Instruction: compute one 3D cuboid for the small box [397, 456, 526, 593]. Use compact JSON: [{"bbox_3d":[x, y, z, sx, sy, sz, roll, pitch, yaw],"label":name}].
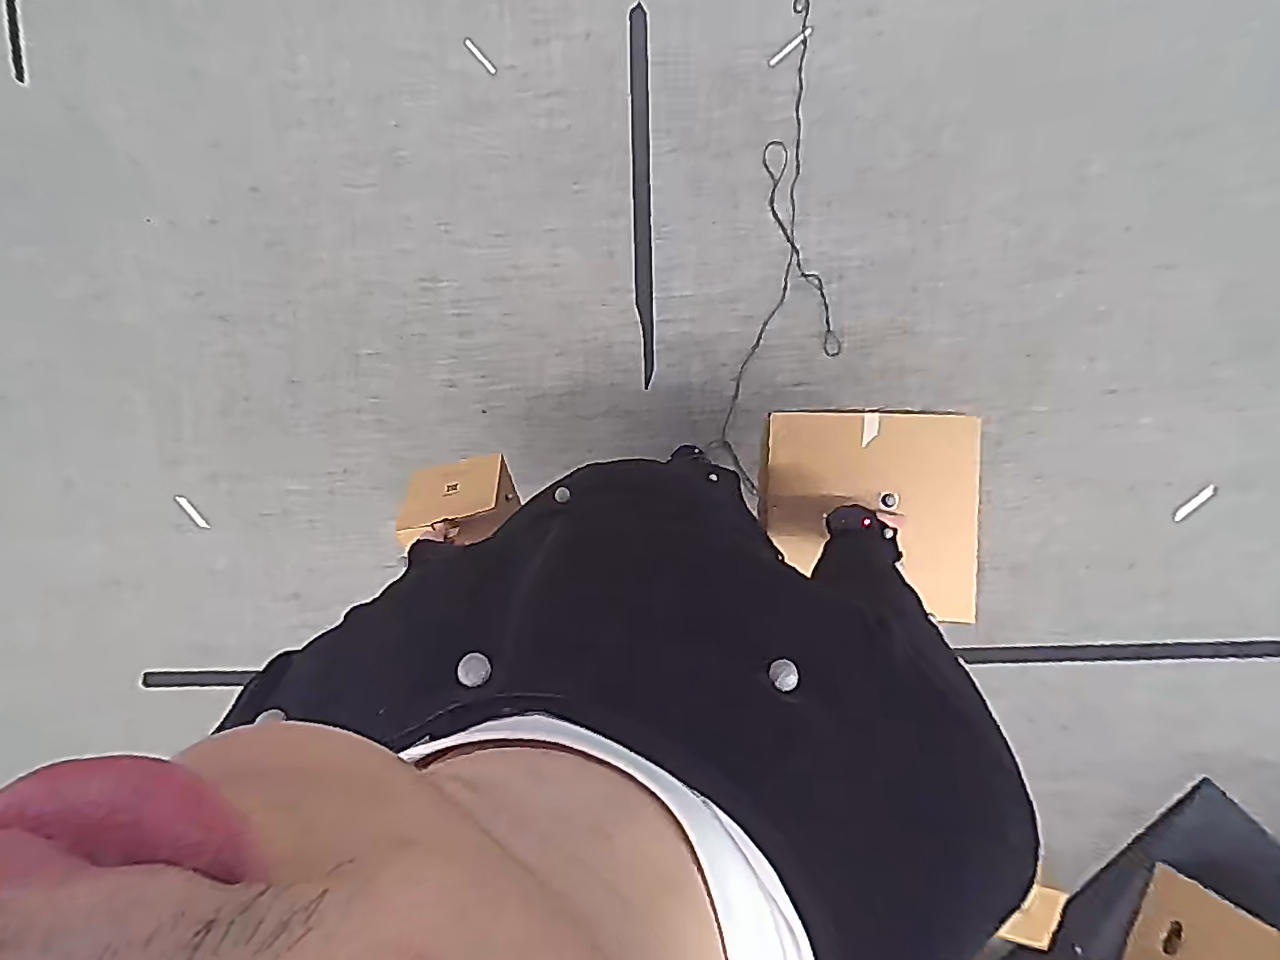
[{"bbox_3d":[-0.310,0.086,0.981,0.168,0.179,0.176,-12,125,-2],"label":"small box"}]
